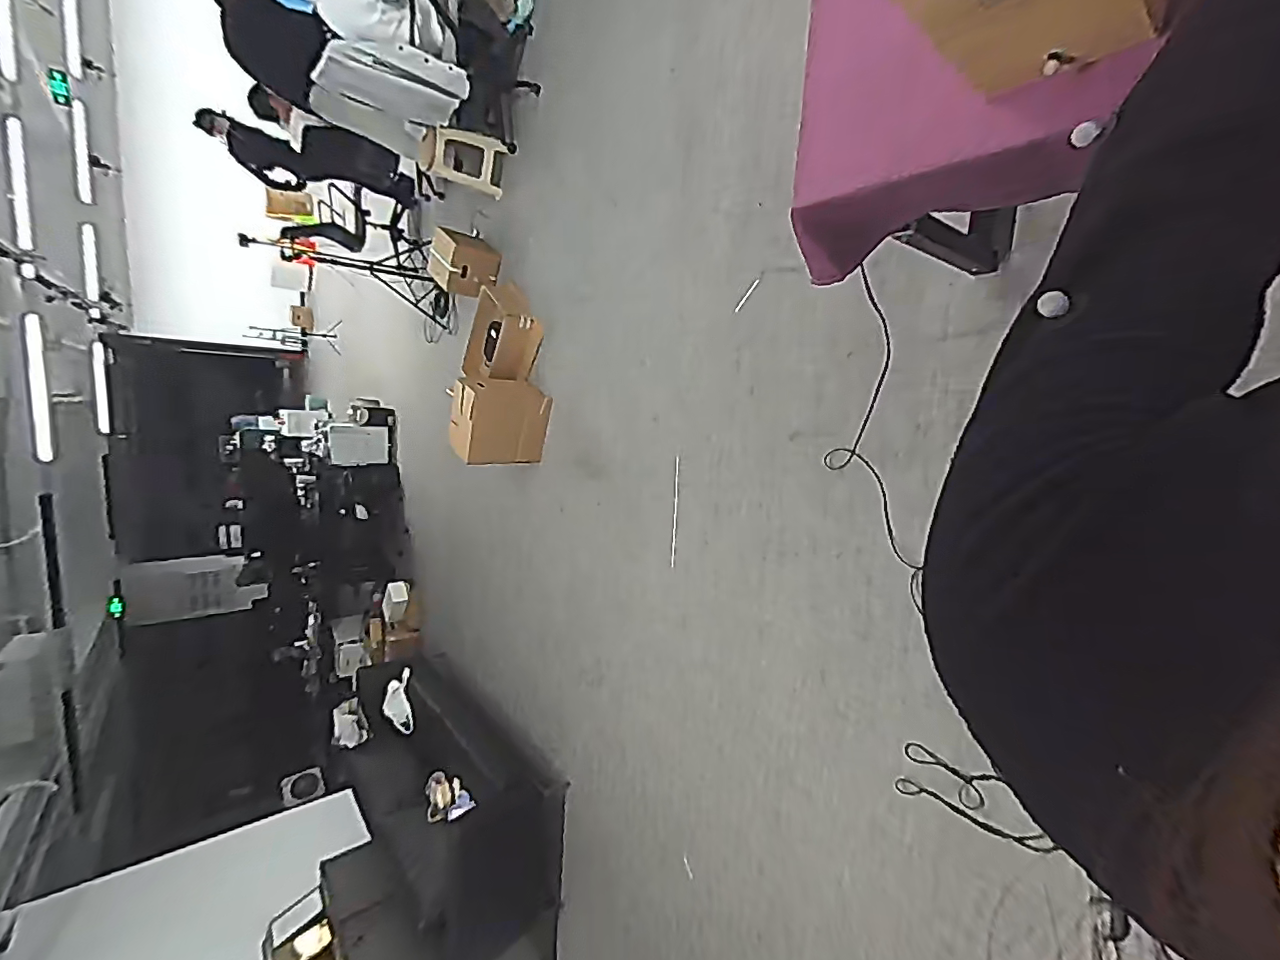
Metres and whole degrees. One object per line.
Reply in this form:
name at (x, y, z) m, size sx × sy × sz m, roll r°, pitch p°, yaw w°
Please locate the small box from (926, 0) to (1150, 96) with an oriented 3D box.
small box at (0.450, -0.574, 0.599) m, size 0.179 × 0.176 × 0.168 m, roll 11°, pitch 101°, yaw 49°
